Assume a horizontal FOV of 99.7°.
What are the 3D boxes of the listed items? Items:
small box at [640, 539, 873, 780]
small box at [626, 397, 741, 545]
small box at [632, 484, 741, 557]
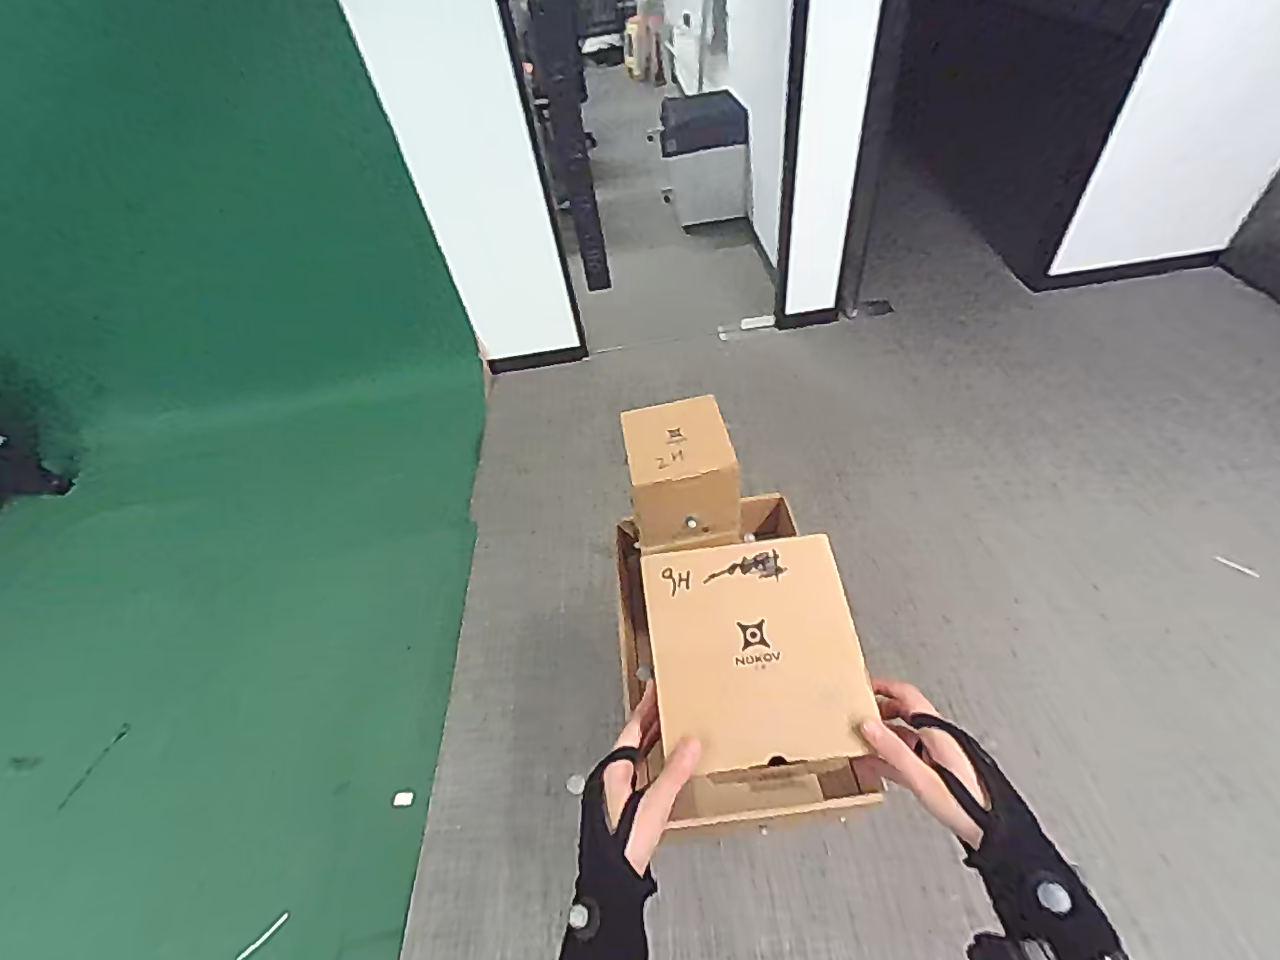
[{"bbox_3d":[0.092,0.169,0.514,0.168,0.176,0.179,-6,67,-1],"label":"small box"},{"bbox_3d":[0.074,-0.014,0.937,0.168,0.176,0.179,-11,49,2],"label":"small box"},{"bbox_3d":[0.091,0.103,1.053,0.179,0.176,0.168,-13,48,0],"label":"small box"}]
